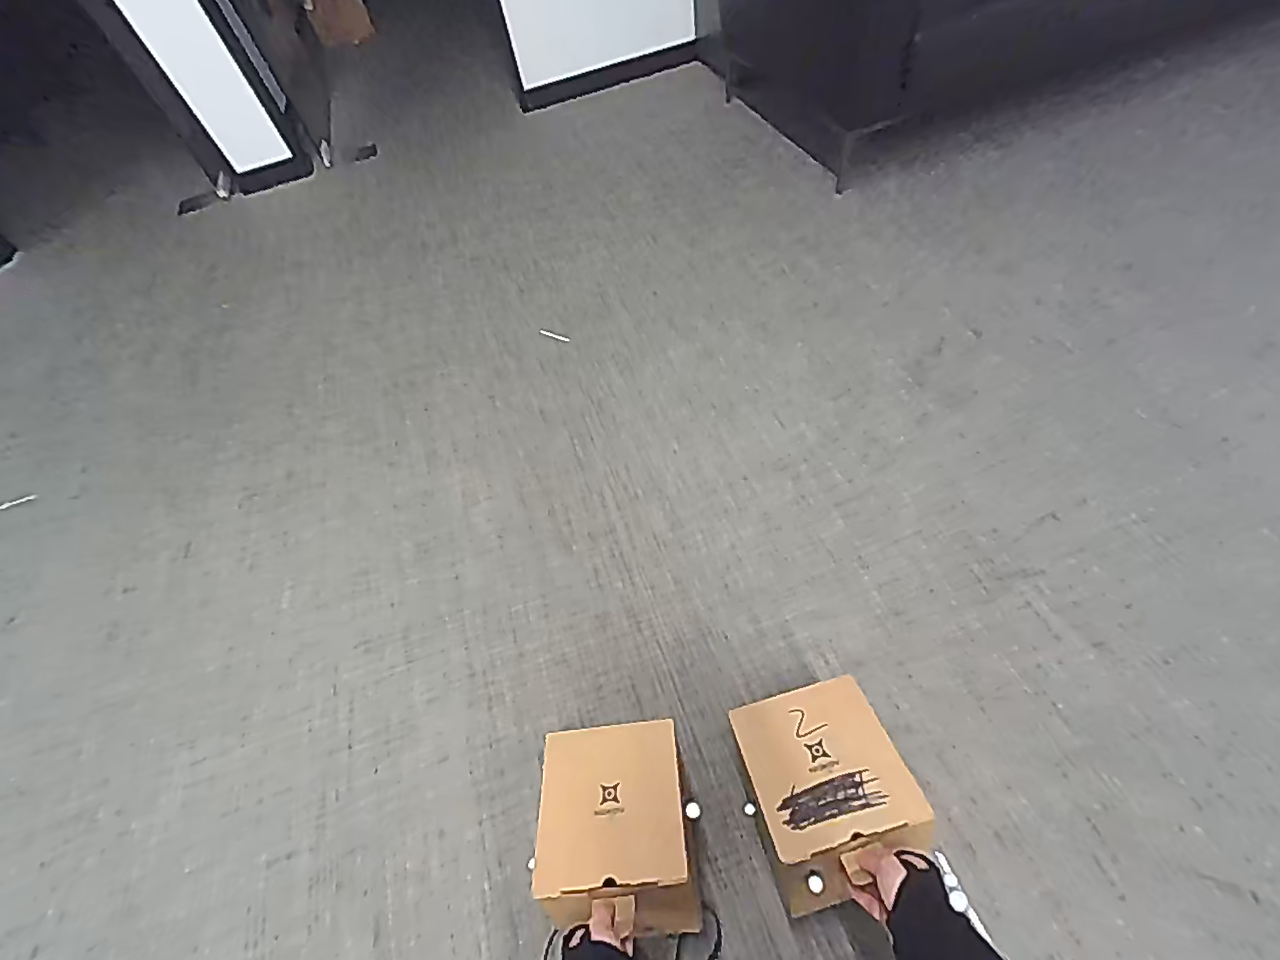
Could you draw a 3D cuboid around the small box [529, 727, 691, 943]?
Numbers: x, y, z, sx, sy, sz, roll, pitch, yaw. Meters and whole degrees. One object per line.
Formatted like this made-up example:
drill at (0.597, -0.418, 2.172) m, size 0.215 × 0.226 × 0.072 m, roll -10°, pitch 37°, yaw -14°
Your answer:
small box at (-0.029, 0.439, 0.675) m, size 0.168 × 0.176 × 0.179 m, roll -7°, pitch 38°, yaw 3°
